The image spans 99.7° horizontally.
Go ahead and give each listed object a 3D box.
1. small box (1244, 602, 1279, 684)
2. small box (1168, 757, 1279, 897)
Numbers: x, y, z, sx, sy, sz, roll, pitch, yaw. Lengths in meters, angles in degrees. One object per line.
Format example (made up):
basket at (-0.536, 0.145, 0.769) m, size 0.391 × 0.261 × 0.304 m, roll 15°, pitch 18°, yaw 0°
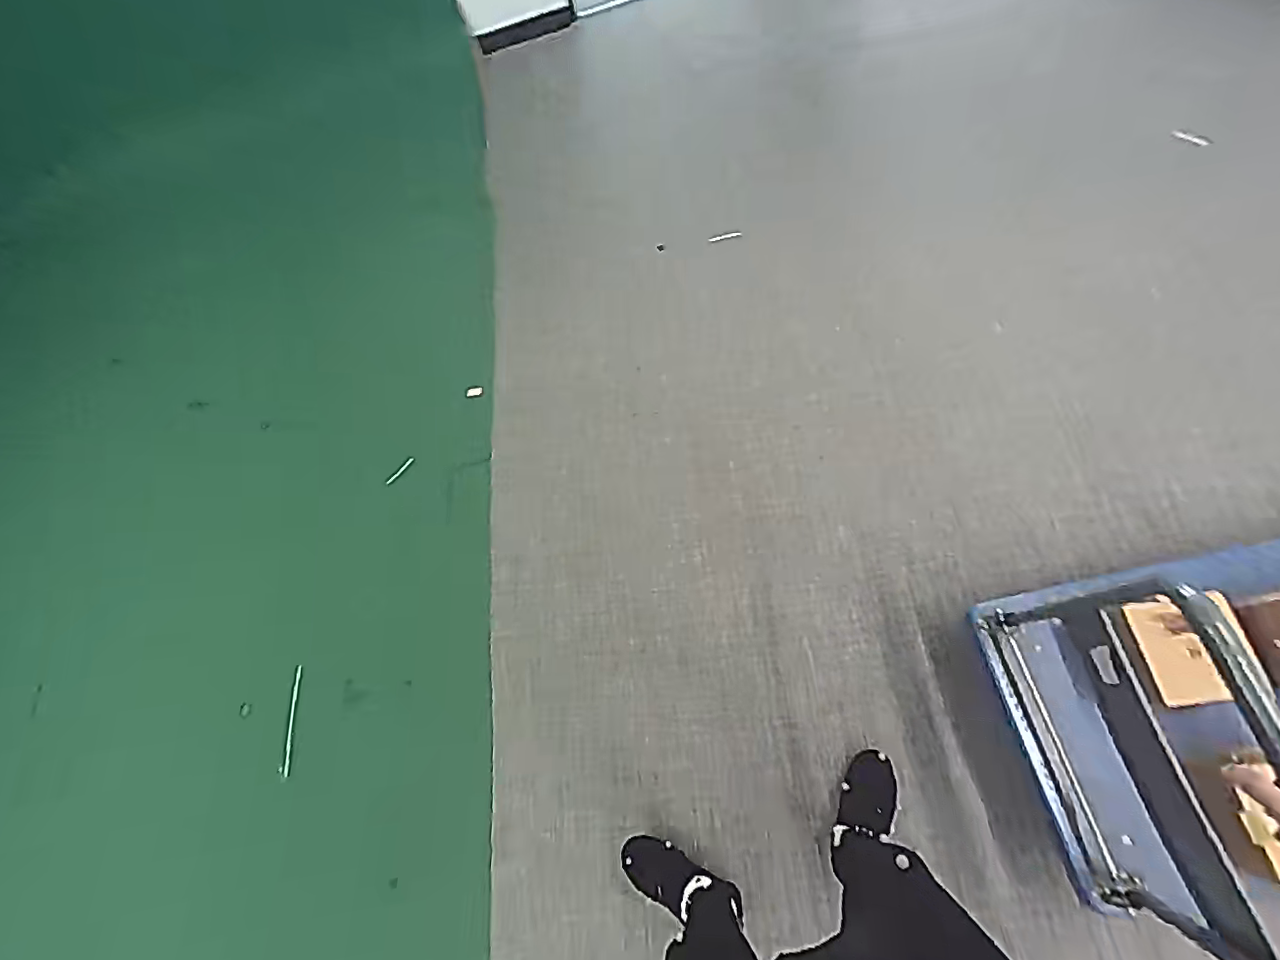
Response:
small box at (1.269, 0.291, 0.970) m, size 0.179 × 0.176 × 0.168 m, roll -18°, pitch 67°, yaw 7°
small box at (1.073, 0.576, 0.912) m, size 0.179 × 0.176 × 0.168 m, roll -13°, pitch 67°, yaw 9°
